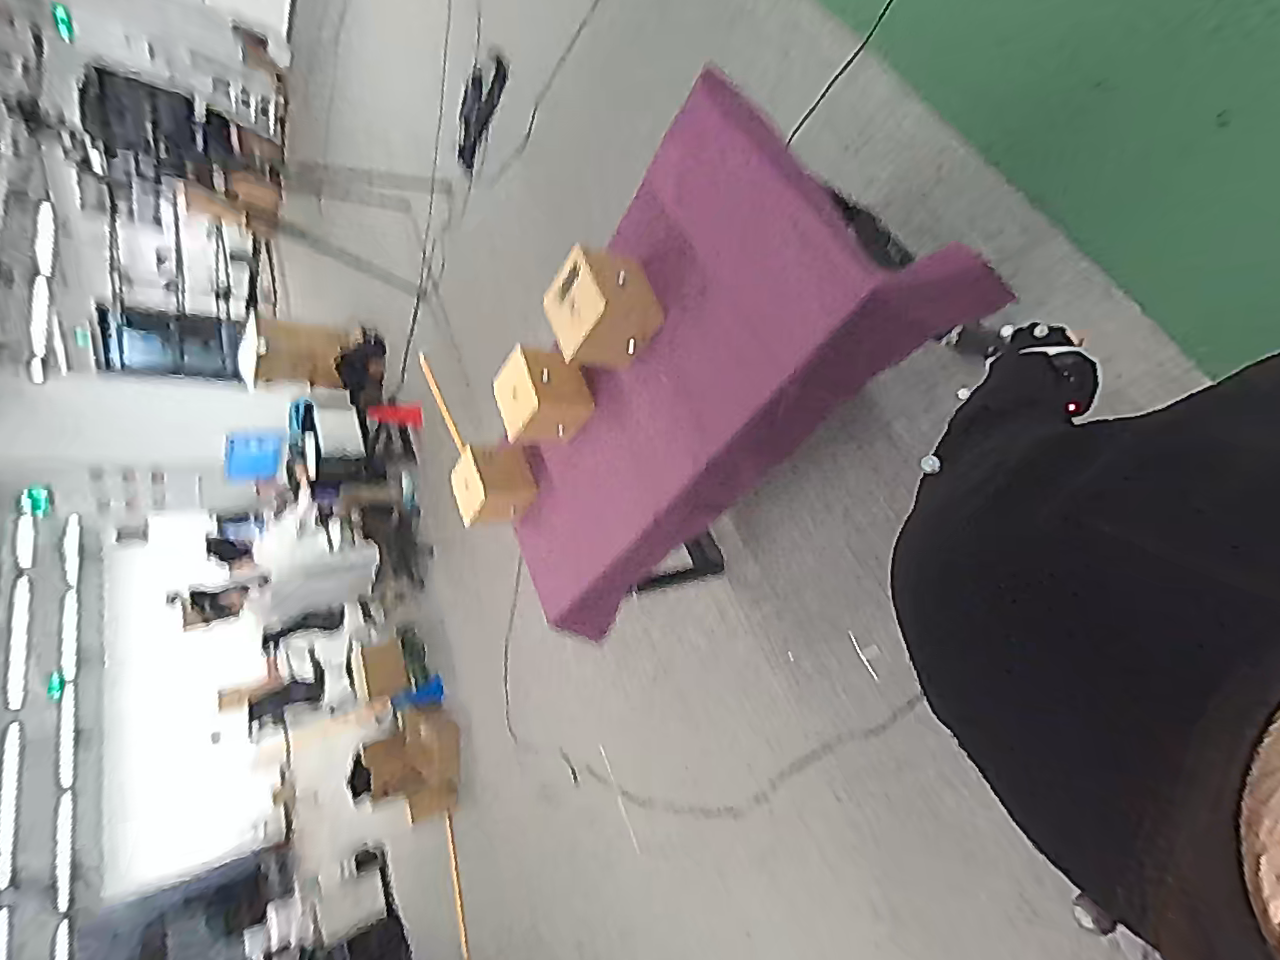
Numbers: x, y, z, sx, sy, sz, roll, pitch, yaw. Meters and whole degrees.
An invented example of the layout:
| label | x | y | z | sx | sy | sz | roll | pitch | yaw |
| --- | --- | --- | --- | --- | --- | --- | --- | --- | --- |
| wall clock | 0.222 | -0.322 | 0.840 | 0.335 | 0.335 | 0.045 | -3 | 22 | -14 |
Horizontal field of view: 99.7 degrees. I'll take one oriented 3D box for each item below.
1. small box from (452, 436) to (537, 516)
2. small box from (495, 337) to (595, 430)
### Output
| label | x | y | z | sx | sy | sz | roll | pitch | yaw |
| --- | --- | --- | --- | --- | --- | --- | --- | --- | --- |
| small box | -0.433 | -0.011 | 1.607 | 0.168 | 0.176 | 0.179 | -48 | 58 | 39 |
| small box | -0.244 | -0.238 | 1.386 | 0.168 | 0.176 | 0.179 | -39 | 65 | 42 |
